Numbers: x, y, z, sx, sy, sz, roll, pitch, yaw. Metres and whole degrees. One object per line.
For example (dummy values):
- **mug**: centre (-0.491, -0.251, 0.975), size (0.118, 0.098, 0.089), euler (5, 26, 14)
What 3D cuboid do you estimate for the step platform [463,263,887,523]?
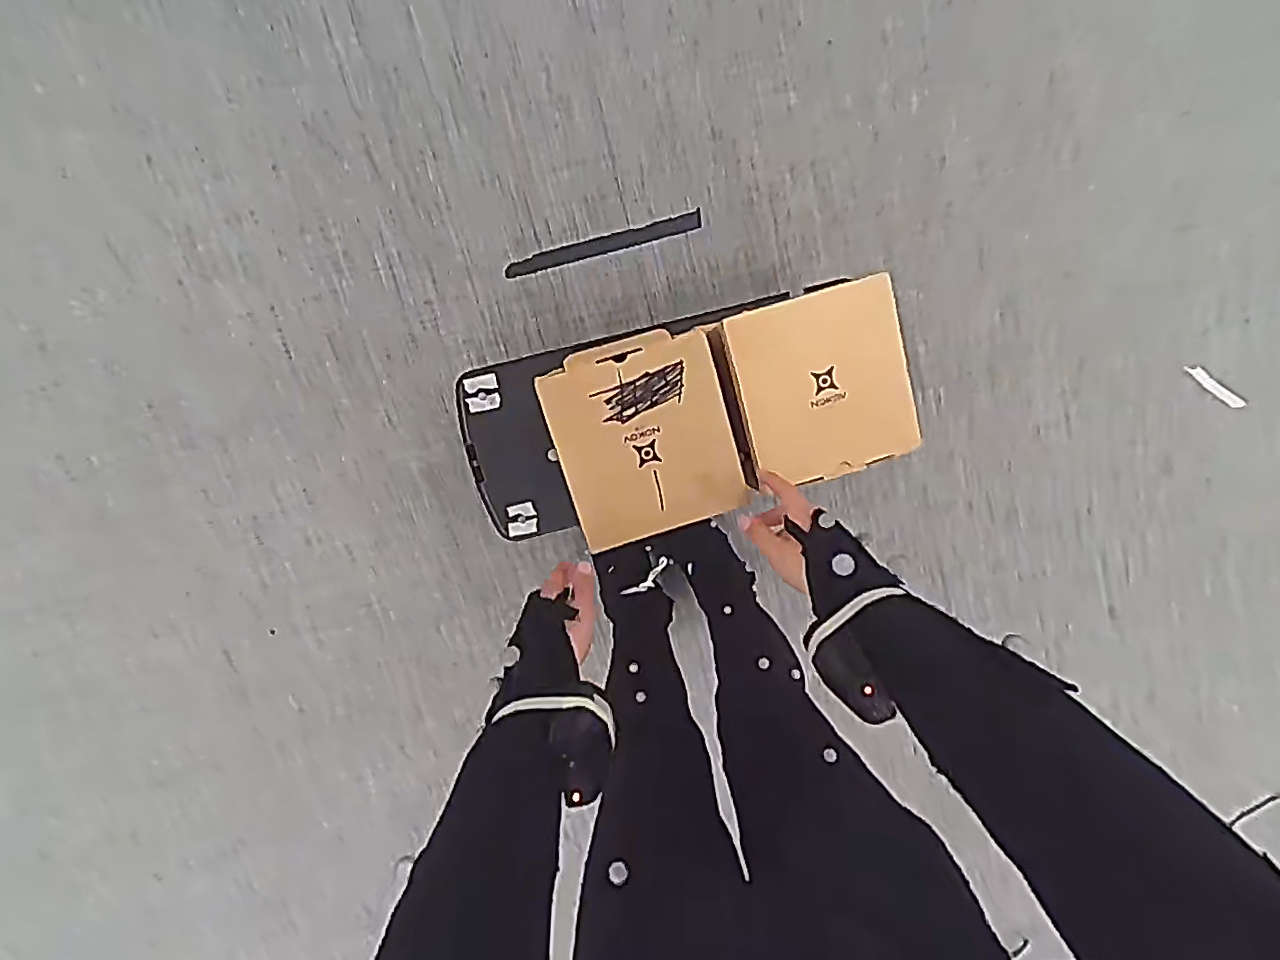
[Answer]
- **step platform**: centre (0.060, -0.144, 0.925), size (0.684, 0.204, 0.286), euler (-15, 99, -1)
